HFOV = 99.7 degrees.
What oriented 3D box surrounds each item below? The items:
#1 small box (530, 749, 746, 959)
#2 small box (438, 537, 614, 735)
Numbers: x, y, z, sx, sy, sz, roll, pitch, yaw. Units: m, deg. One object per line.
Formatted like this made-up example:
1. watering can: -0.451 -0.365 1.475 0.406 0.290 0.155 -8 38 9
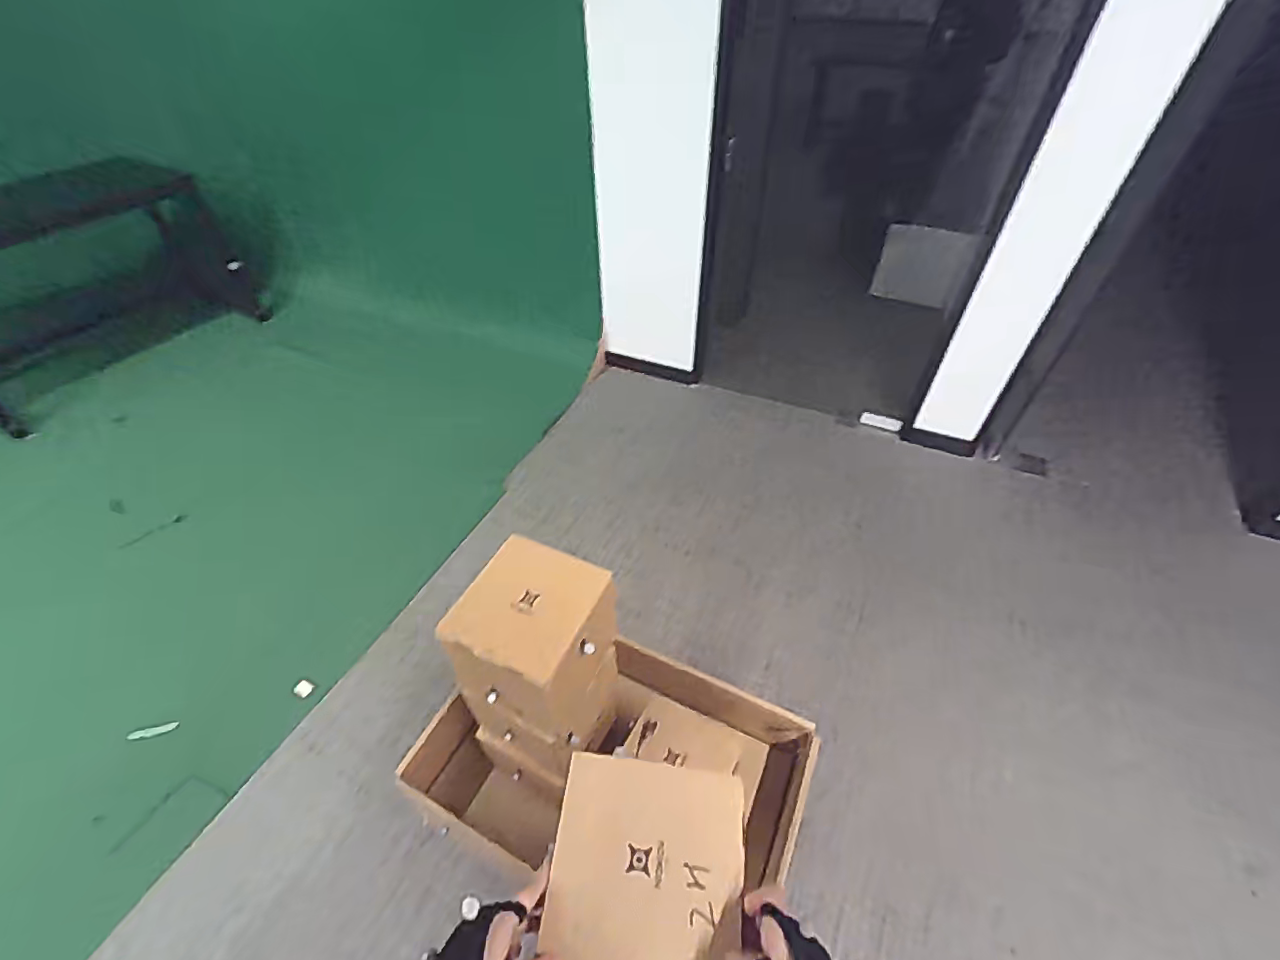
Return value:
1. small box: 0.006 0.392 0.547 0.179 0.176 0.168 7 52 5
2. small box: -0.146 0.217 0.757 0.168 0.176 0.179 18 48 17
